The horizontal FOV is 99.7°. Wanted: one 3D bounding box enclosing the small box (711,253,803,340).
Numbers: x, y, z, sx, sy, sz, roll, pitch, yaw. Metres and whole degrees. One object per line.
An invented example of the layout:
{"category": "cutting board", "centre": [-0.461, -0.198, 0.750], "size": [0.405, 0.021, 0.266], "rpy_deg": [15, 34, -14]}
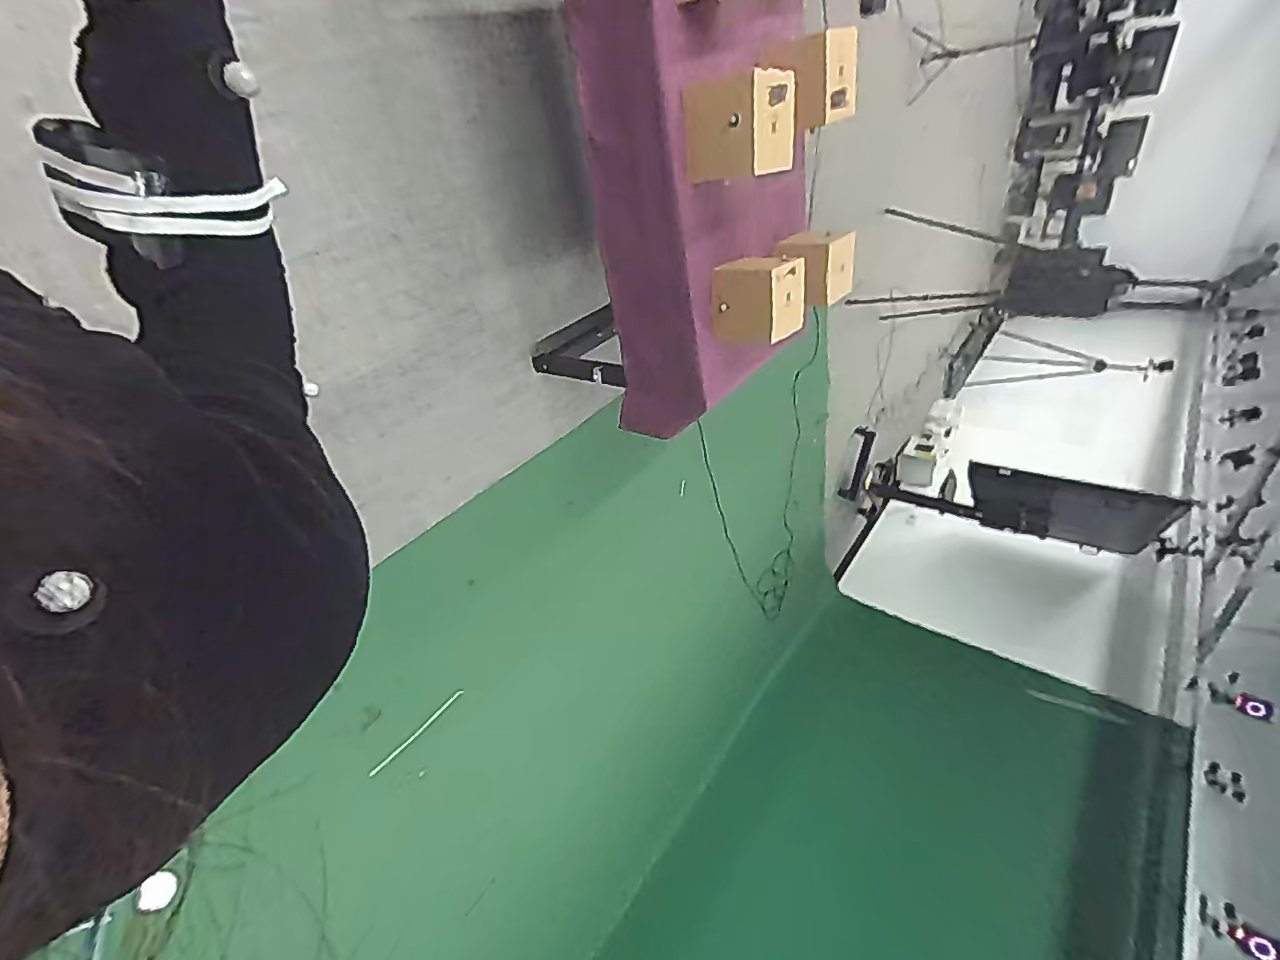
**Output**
{"category": "small box", "centre": [0.292, -0.466, 1.361], "size": [0.168, 0.176, 0.179], "rpy_deg": [-35, 130, -40]}

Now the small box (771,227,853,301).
{"category": "small box", "centre": [0.490, -0.622, 1.548], "size": [0.179, 0.176, 0.168], "rpy_deg": [-37, 130, -37]}

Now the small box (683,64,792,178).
{"category": "small box", "centre": [0.203, -0.746, 1.135], "size": [0.168, 0.176, 0.179], "rpy_deg": [-36, 131, -39]}
